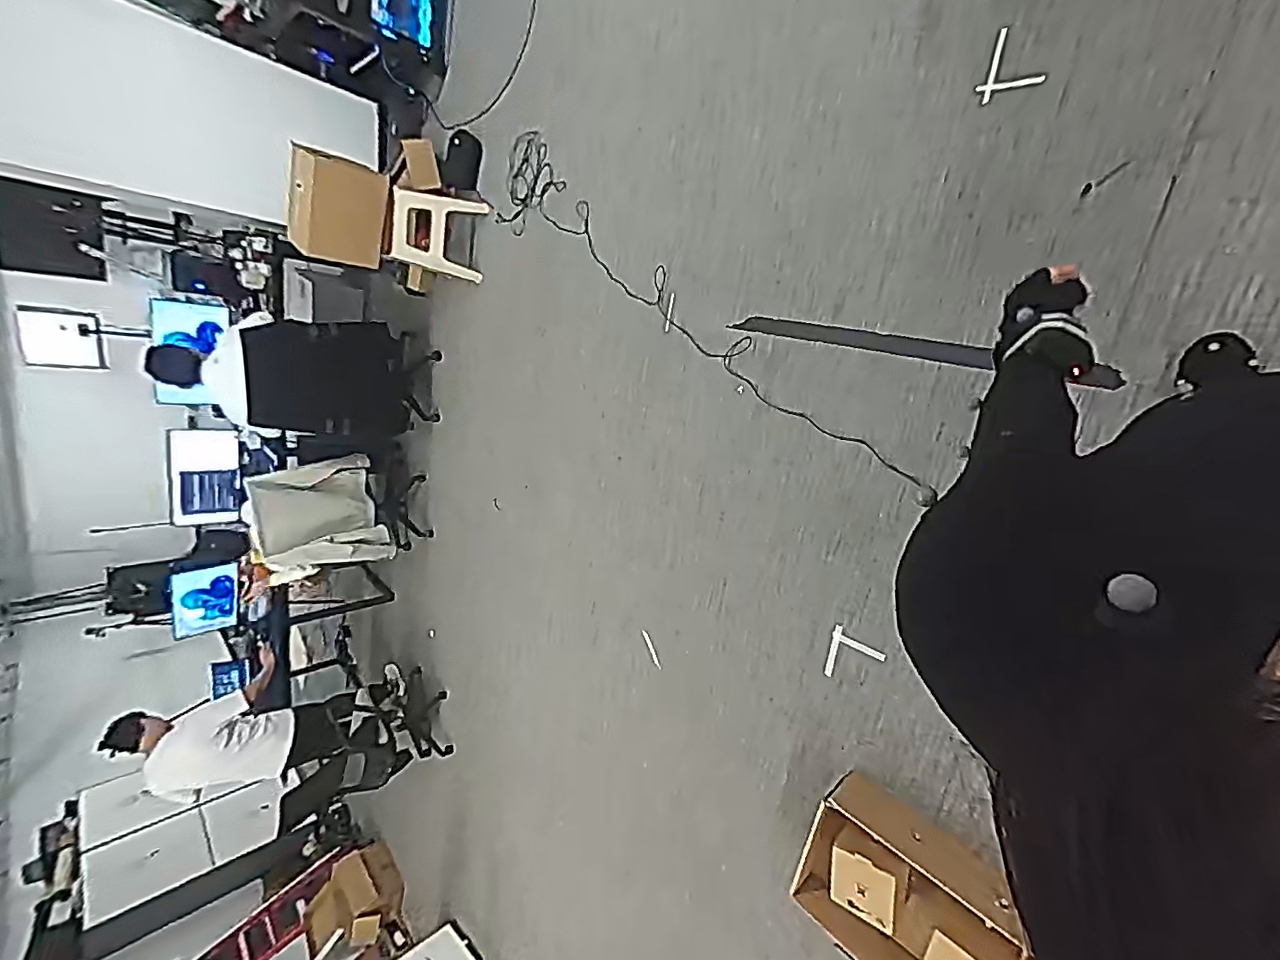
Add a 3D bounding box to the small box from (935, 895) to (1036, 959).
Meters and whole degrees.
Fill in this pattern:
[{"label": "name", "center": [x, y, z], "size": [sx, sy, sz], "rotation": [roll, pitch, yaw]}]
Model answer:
[{"label": "small box", "center": [0.835, 1.184, 1.318], "size": [0.168, 0.176, 0.179], "rotation": [22, 110, 42]}]
